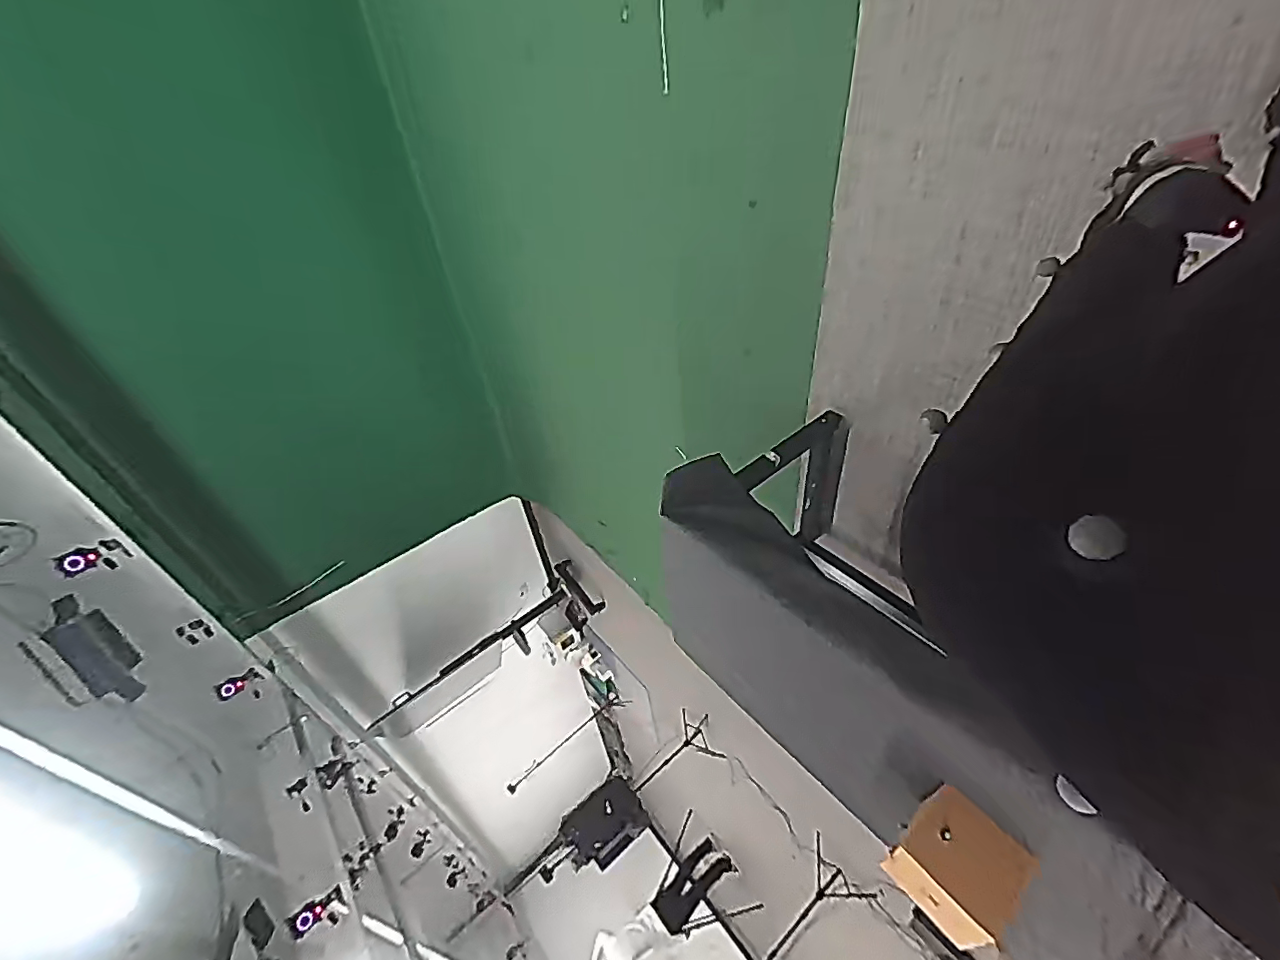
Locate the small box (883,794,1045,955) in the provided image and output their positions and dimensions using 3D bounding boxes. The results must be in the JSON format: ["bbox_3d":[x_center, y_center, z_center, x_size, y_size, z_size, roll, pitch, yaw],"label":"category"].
[{"bbox_3d":[0.598,0.724,1.009,0.179,0.176,0.168,38,149,35],"label":"small box"}]
